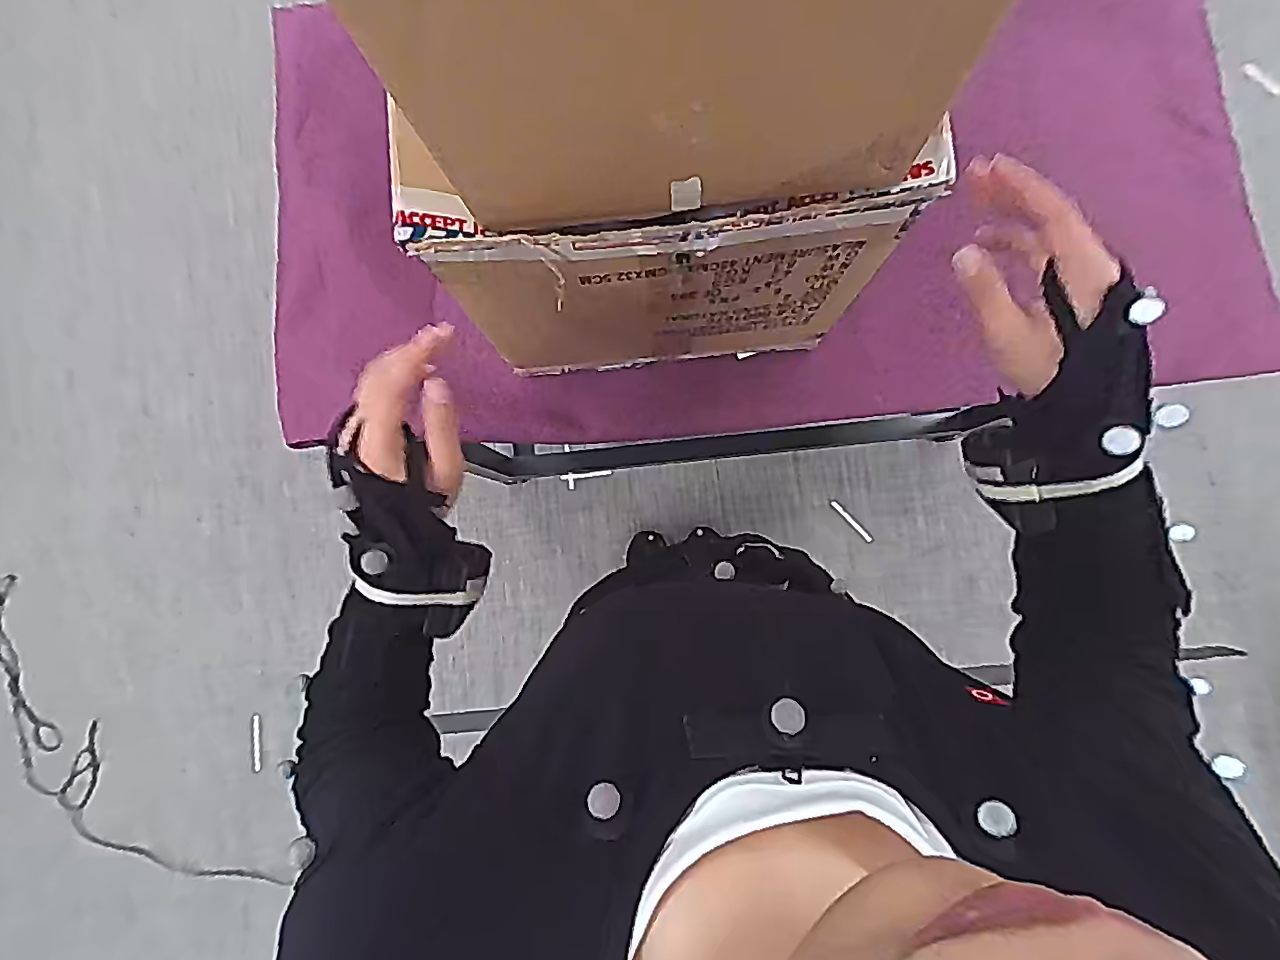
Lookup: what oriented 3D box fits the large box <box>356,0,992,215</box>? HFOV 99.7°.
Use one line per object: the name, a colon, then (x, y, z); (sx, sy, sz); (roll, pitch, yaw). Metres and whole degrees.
large box: (0.006, -0.419, 0.266); (0.320, 0.320, 0.408); (-5, 85, 6)
